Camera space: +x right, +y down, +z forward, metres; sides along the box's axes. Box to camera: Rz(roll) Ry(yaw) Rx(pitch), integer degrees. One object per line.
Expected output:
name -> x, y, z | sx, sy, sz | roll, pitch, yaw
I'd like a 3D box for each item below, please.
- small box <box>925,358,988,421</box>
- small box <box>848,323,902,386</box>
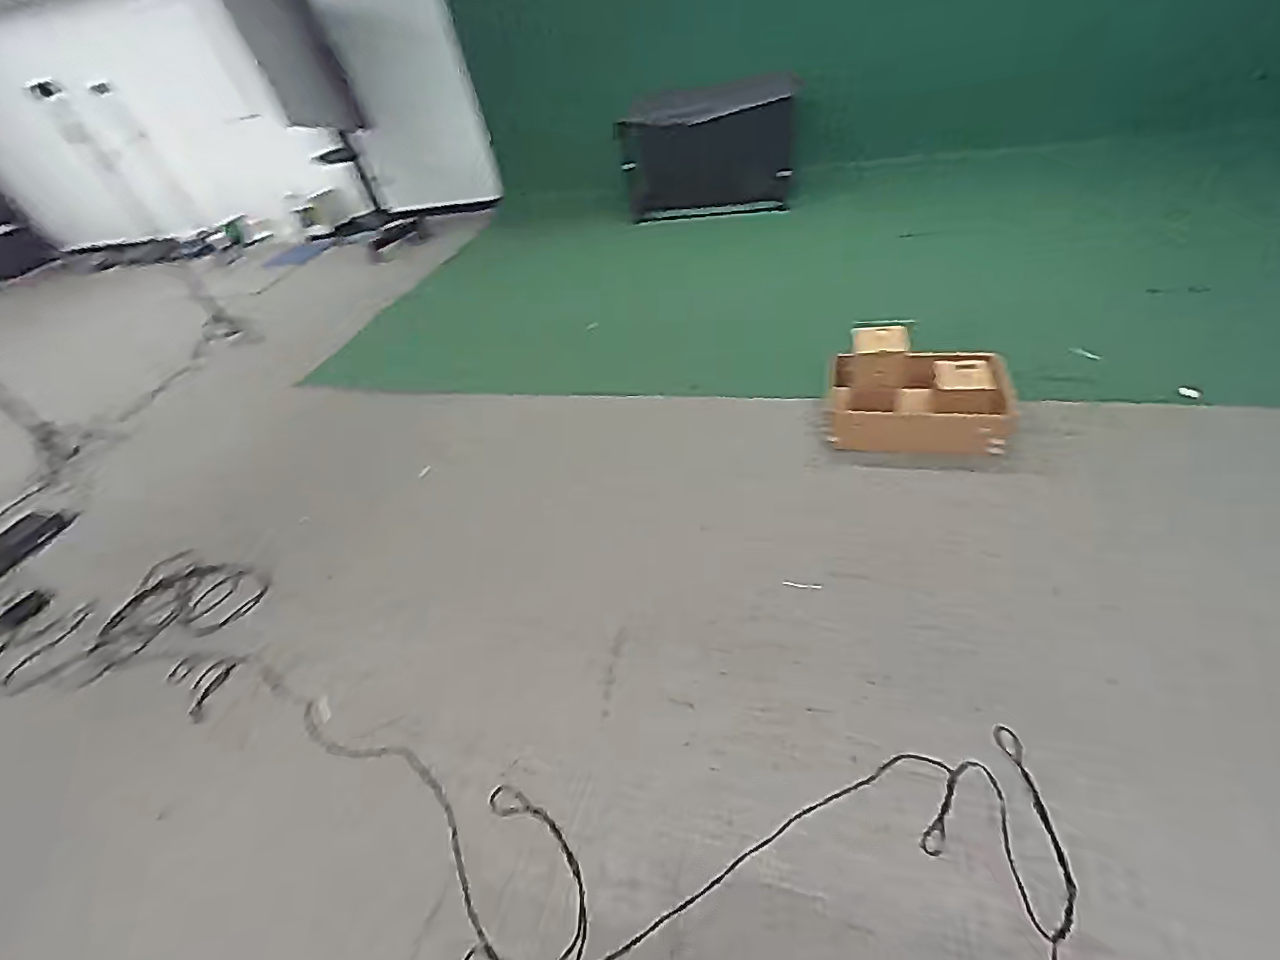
small box -> 1.193, -0.344, 2.051 | 0.168, 0.176, 0.179 | 2, 48, 17
small box -> 0.871, -0.462, 2.016 | 0.168, 0.176, 0.179 | 1, 47, 16
